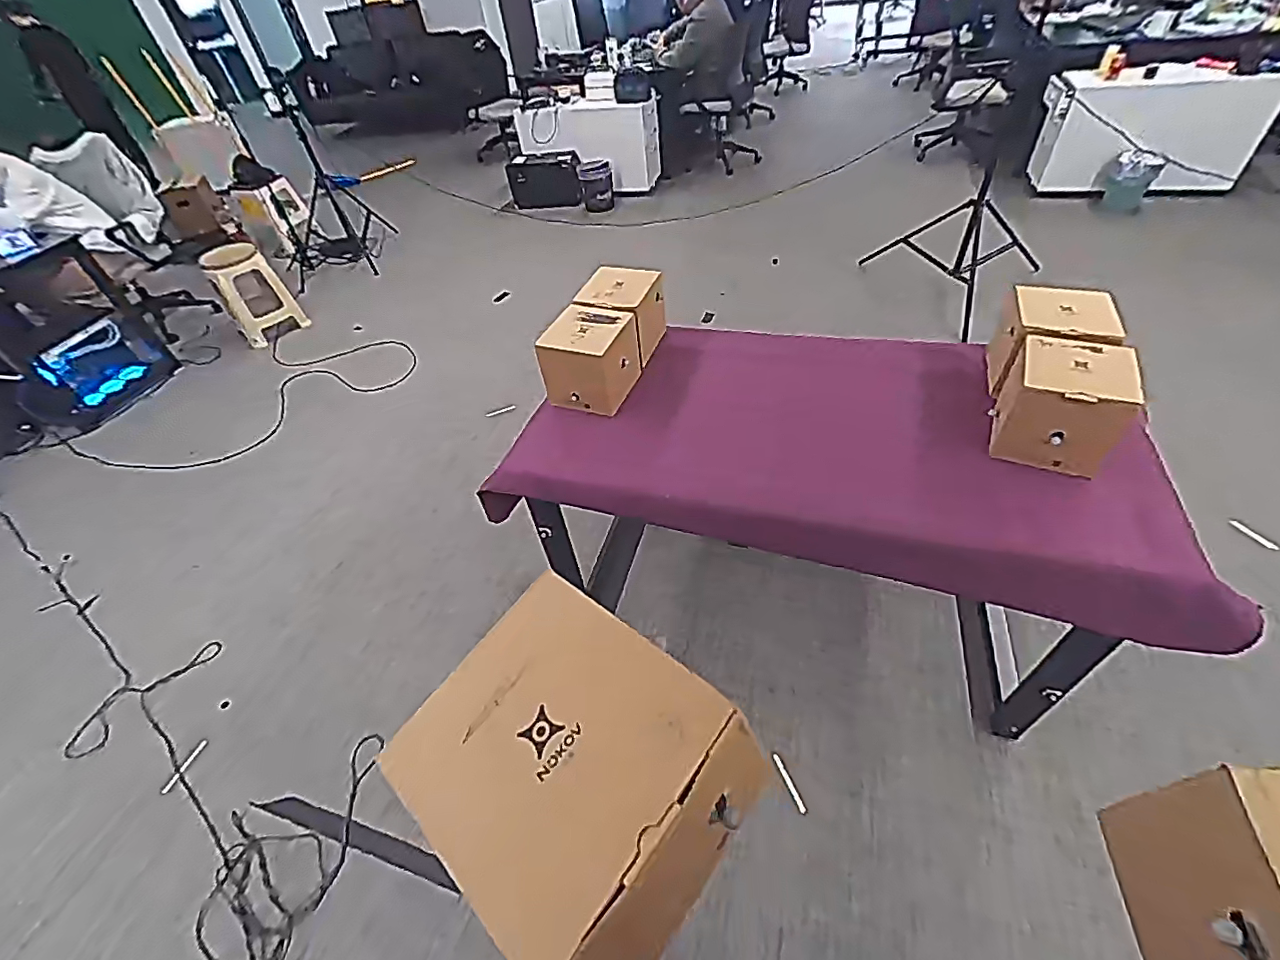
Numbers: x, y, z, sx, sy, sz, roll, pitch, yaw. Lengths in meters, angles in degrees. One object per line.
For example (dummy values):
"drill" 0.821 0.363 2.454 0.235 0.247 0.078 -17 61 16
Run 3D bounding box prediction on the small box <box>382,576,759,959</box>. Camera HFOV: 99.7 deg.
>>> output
"small box" -0.033 0.207 0.387 0.179 0.176 0.168 25 63 36

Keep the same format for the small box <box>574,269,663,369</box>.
"small box" -0.045 -0.404 1.354 0.168 0.176 0.179 12 50 18

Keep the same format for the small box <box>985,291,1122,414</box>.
"small box" 0.829 -0.262 1.106 0.168 0.176 0.179 12 48 18
